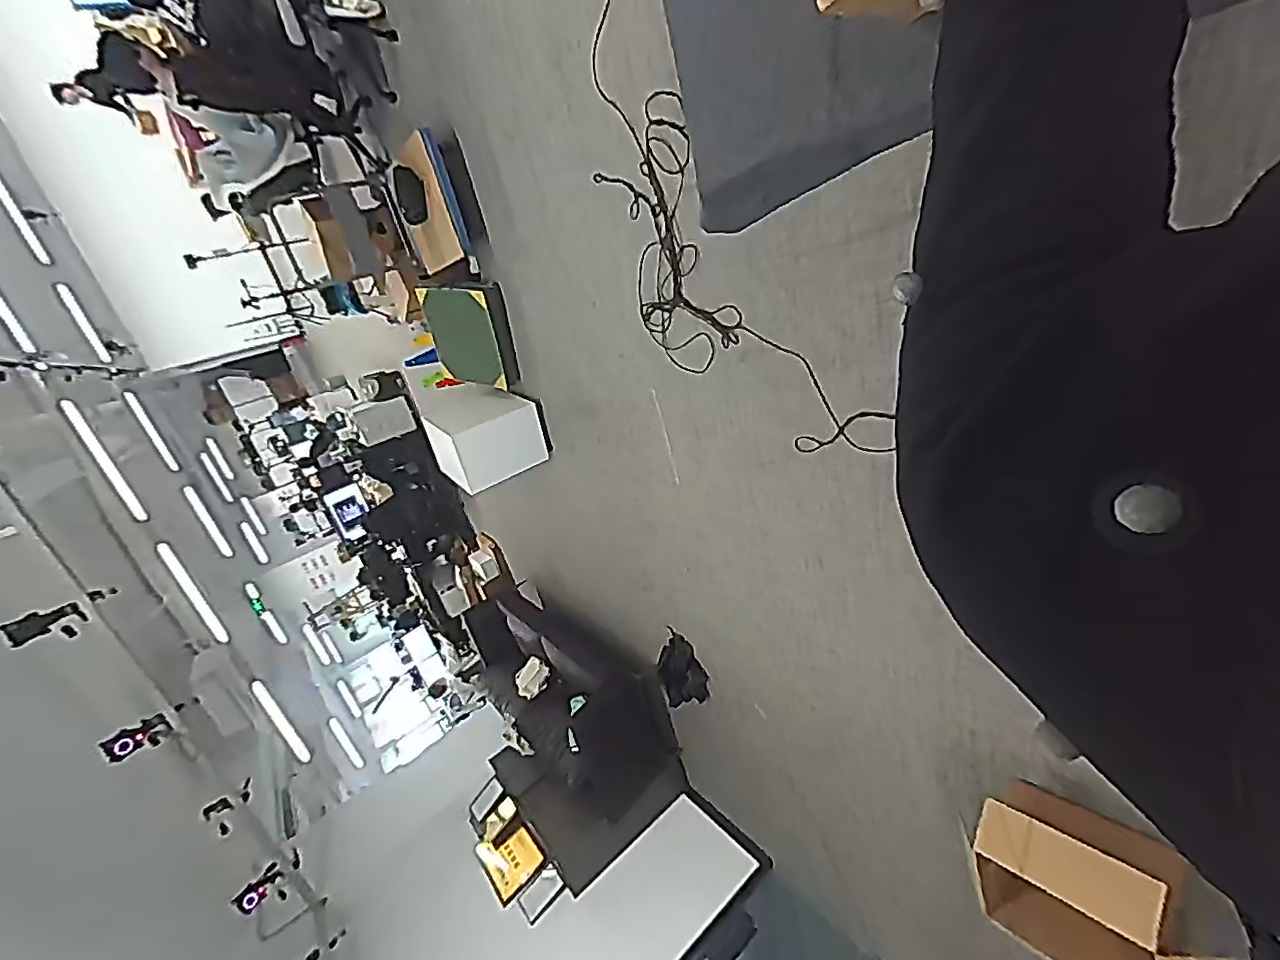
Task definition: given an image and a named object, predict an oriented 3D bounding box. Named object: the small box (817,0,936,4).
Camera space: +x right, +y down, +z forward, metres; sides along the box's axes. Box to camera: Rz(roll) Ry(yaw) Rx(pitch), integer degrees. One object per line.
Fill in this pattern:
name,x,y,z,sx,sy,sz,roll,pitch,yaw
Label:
small box,0.226,-0.502,0.403,0.168,0.176,0.179,0,115,57
